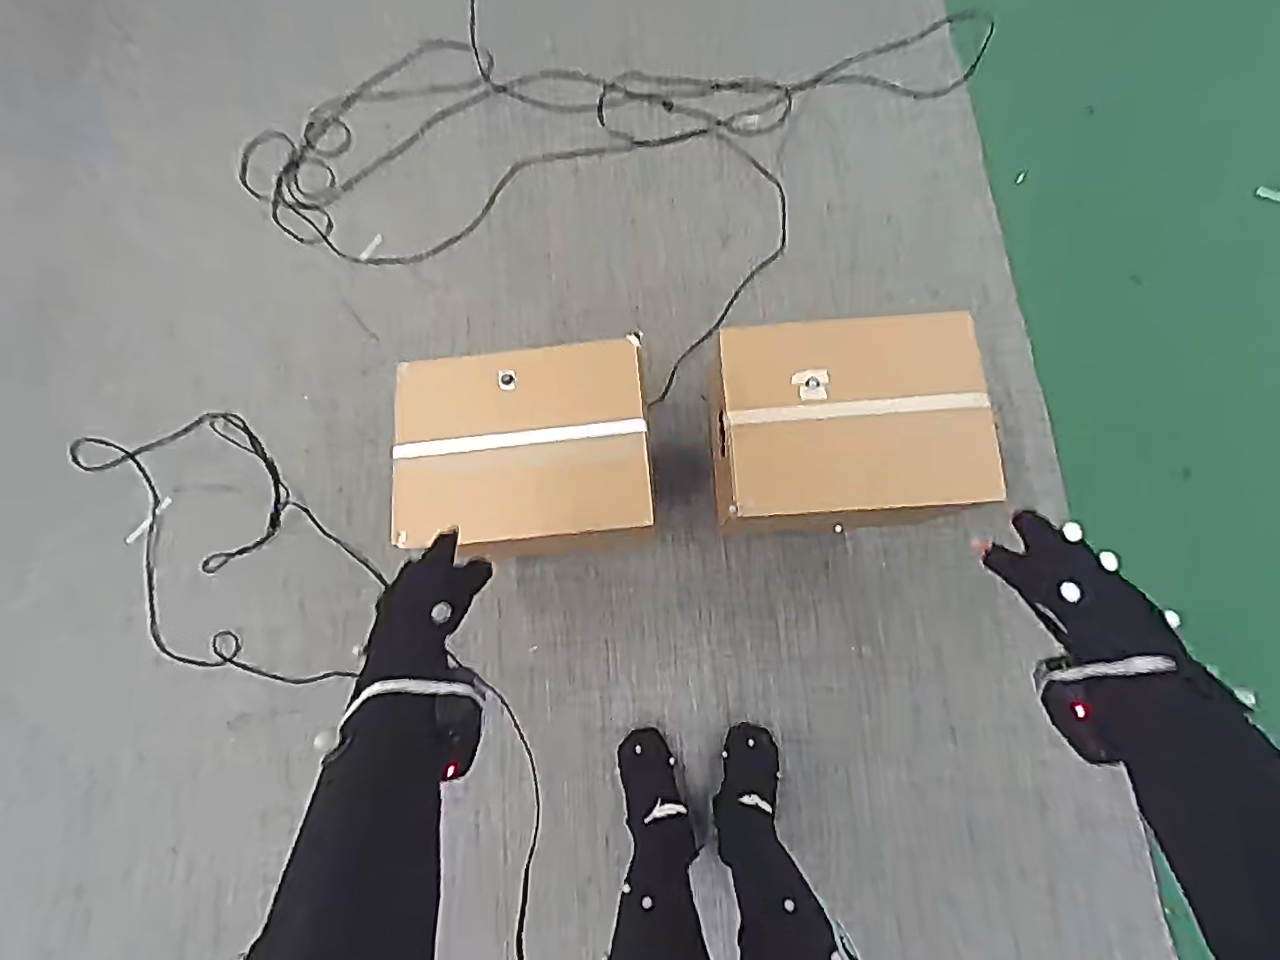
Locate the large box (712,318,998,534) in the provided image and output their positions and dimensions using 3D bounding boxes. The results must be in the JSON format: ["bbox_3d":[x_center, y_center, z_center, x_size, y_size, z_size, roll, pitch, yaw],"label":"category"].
[{"bbox_3d":[0.354,-0.074,1.009,0.408,0.320,0.320,-3,78,3],"label":"large box"}]
